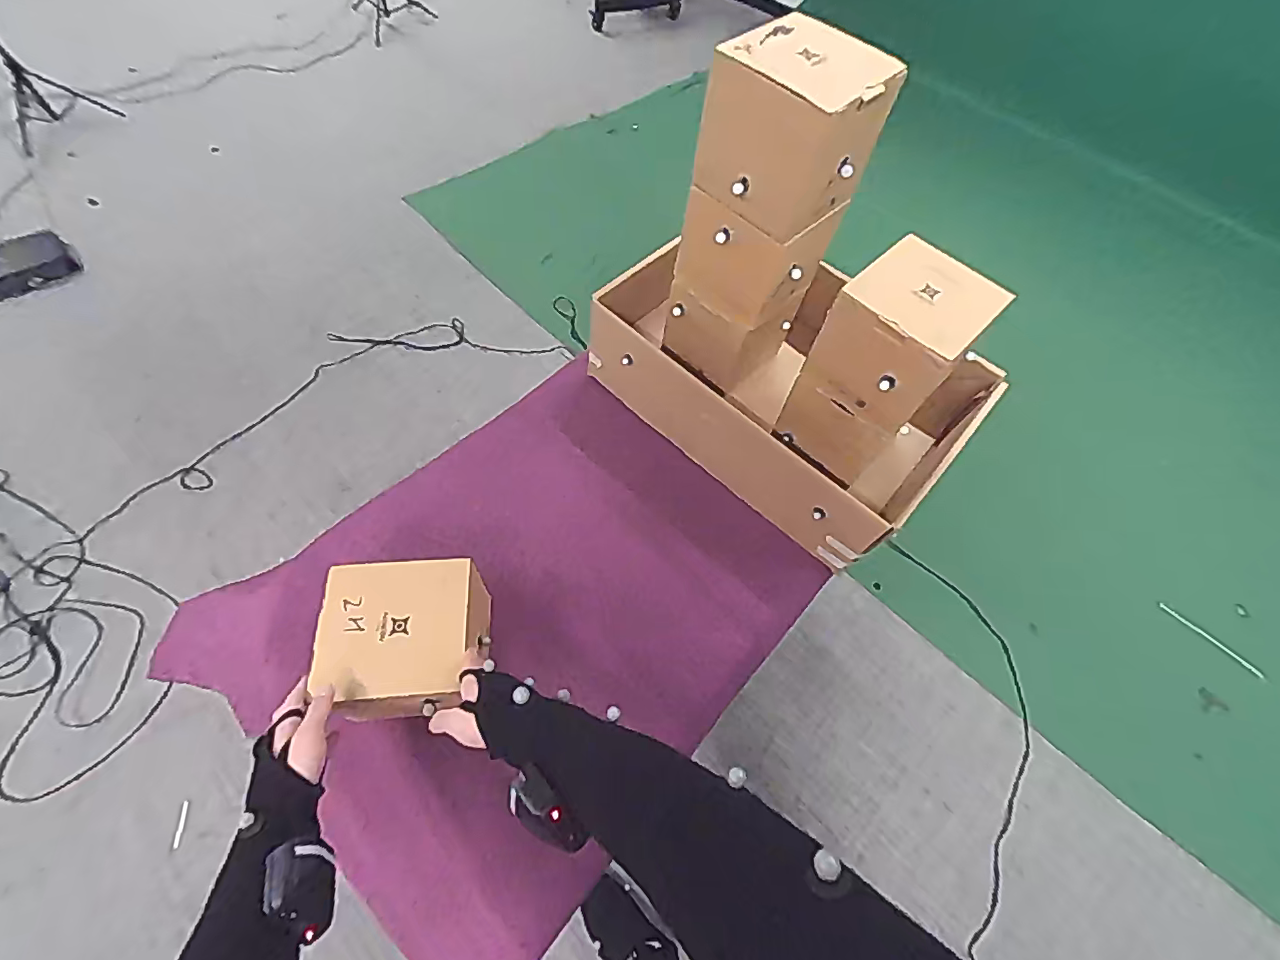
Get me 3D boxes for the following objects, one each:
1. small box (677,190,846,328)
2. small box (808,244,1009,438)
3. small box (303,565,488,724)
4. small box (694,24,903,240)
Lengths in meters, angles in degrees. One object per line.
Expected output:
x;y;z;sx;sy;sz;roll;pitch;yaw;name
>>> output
0.182;-0.369;0.861;0.168;0.176;0.179;-40;72;-23;small box
0.367;-0.193;0.777;0.179;0.176;0.168;-39;71;-23;small box
-0.303;0.221;0.717;0.179;0.176;0.168;-2;60;-7;small box
0.197;-0.450;0.718;0.168;0.176;0.179;-40;73;-24;small box
